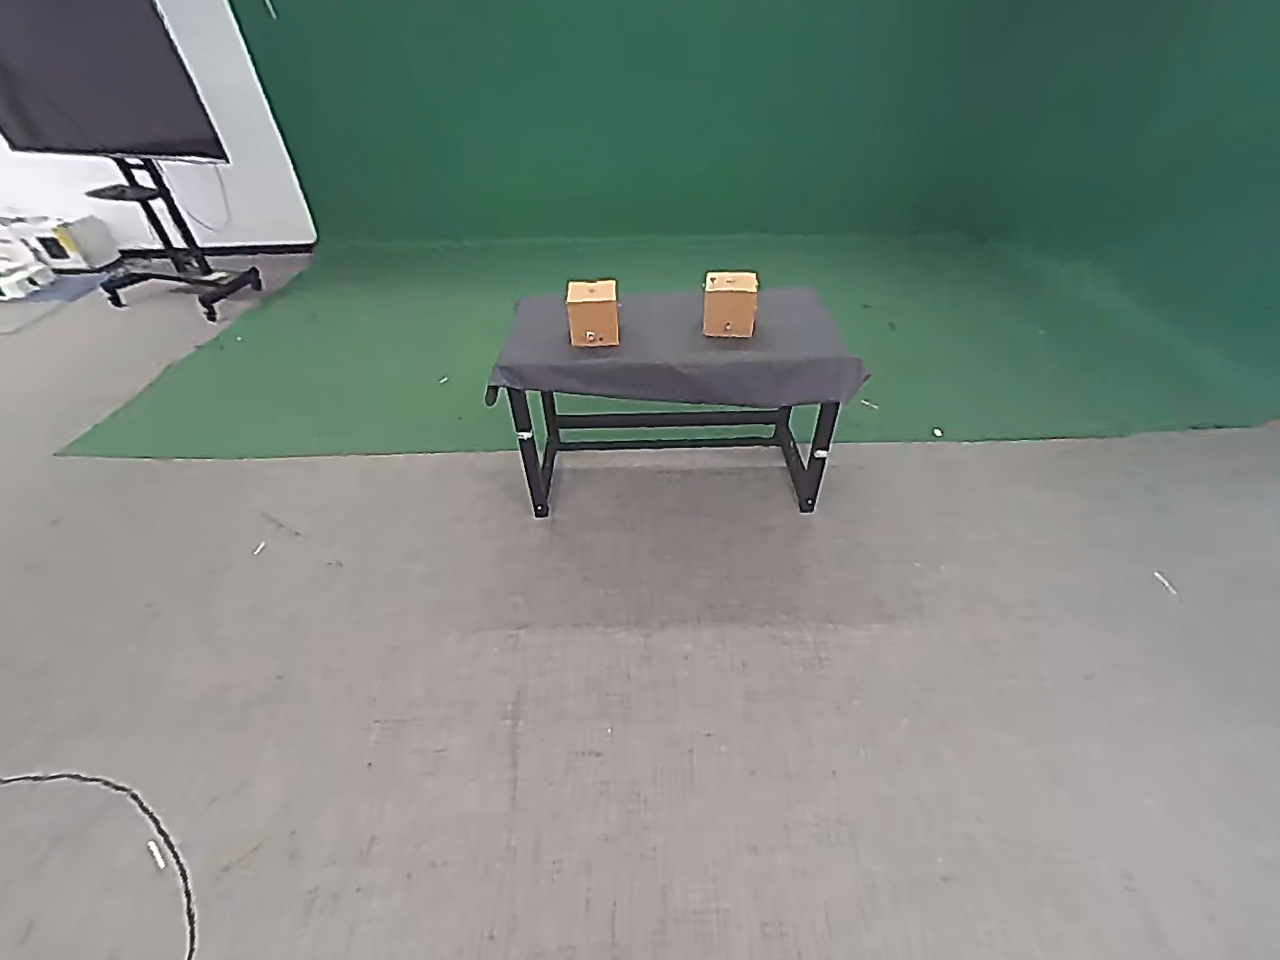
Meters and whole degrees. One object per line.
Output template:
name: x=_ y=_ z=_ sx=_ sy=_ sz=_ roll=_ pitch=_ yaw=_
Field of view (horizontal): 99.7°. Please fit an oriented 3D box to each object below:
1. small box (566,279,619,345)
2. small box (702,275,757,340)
small box: x=-0.162 y=-0.589 z=1.893 sx=0.168 sy=0.176 sz=0.179 roll=-3 pitch=41 yaw=1
small box: x=0.319 y=-0.615 z=1.932 sx=0.179 sy=0.176 sz=0.168 roll=5 pitch=41 yaw=7
